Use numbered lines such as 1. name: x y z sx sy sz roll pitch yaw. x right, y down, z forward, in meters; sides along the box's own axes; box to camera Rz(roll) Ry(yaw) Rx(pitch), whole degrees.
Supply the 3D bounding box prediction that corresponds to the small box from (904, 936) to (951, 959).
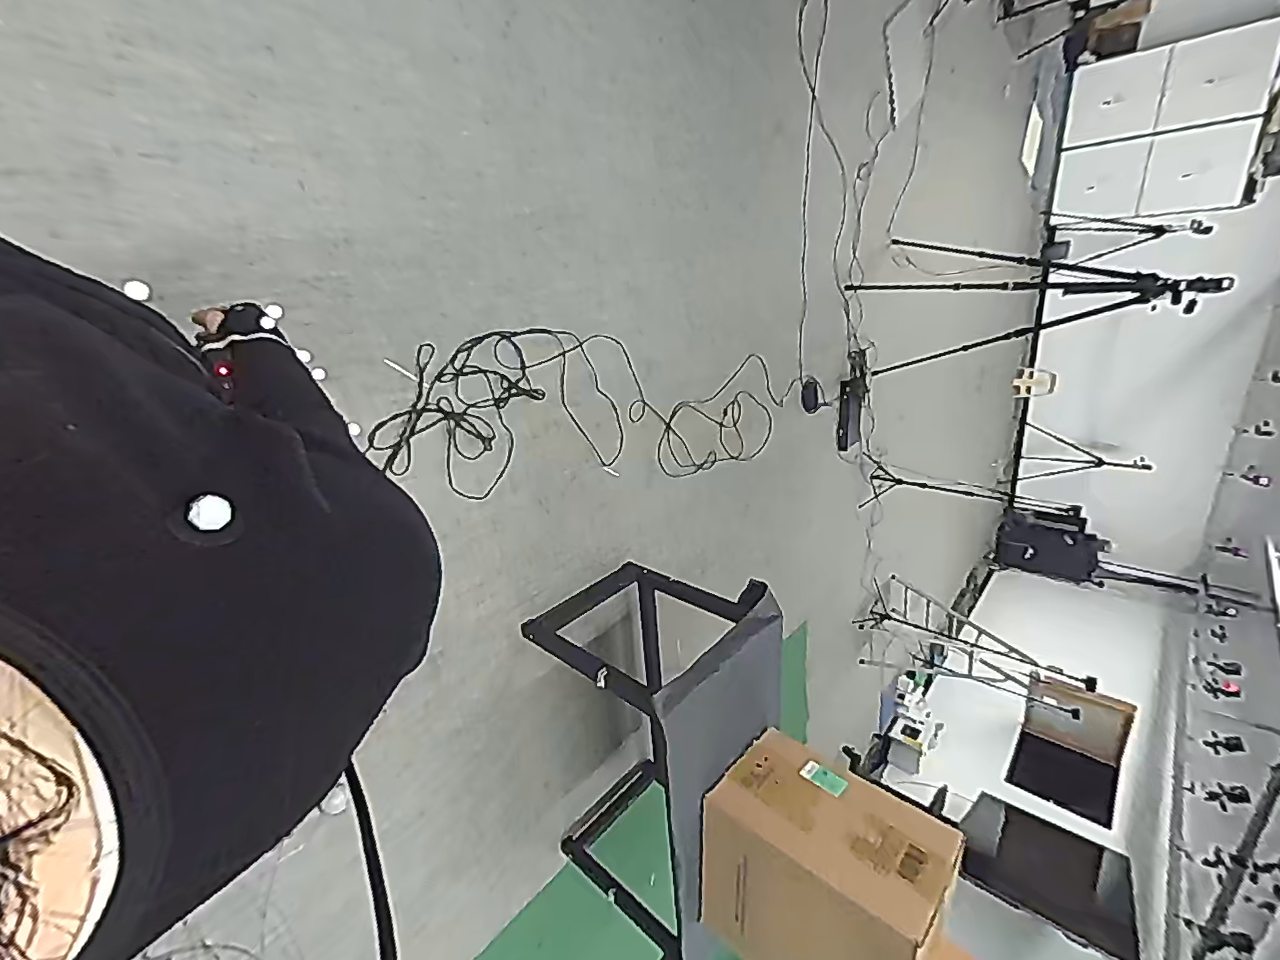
1. small box: 0.749 1.331 1.372 0.168 0.176 0.179 -14 111 -43
